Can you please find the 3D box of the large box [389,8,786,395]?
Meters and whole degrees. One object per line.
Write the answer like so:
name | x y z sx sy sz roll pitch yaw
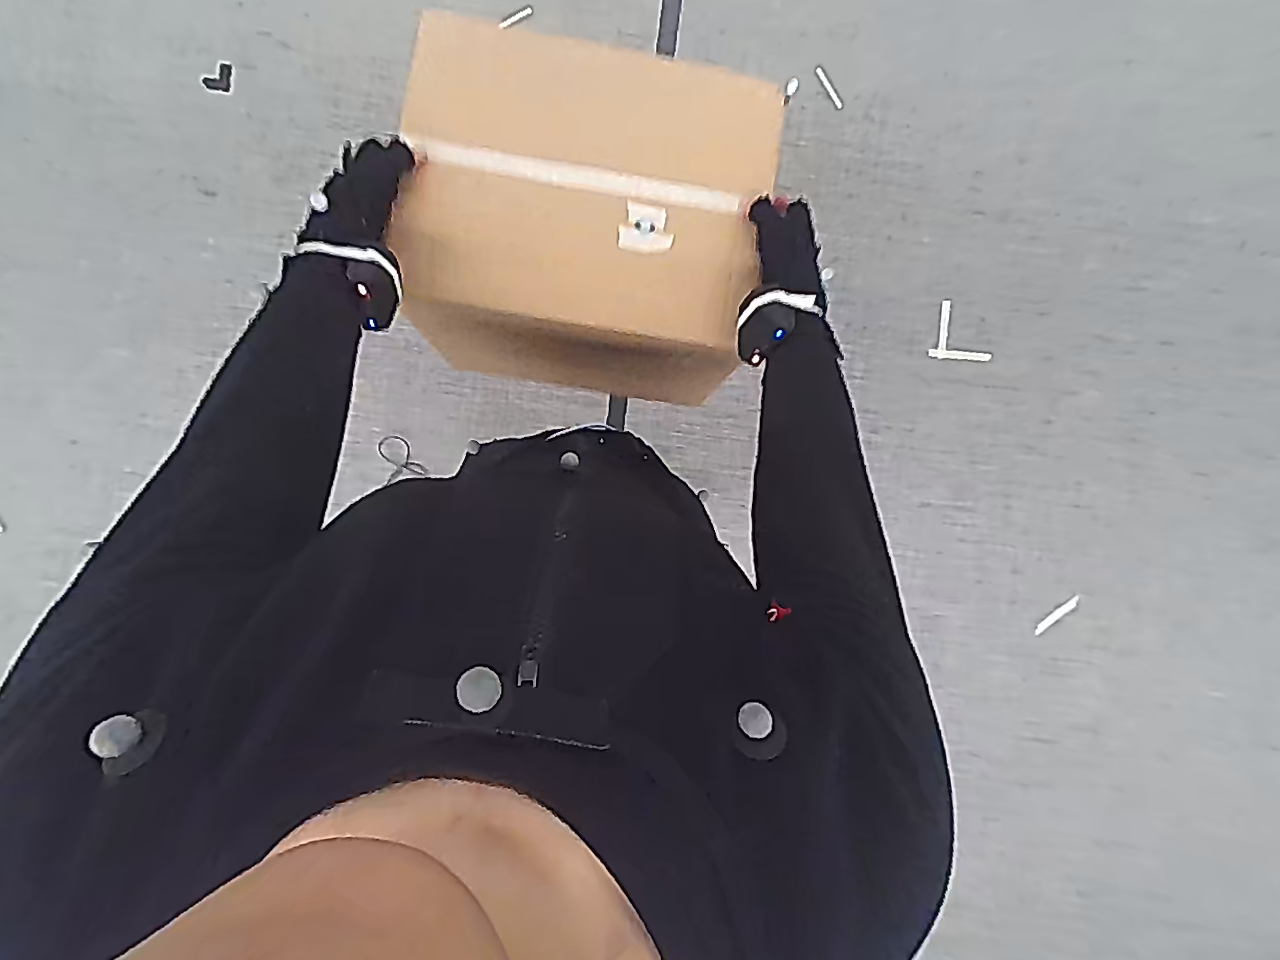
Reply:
large box | -0.065 -0.320 0.732 0.408 0.320 0.320 8 87 -6
